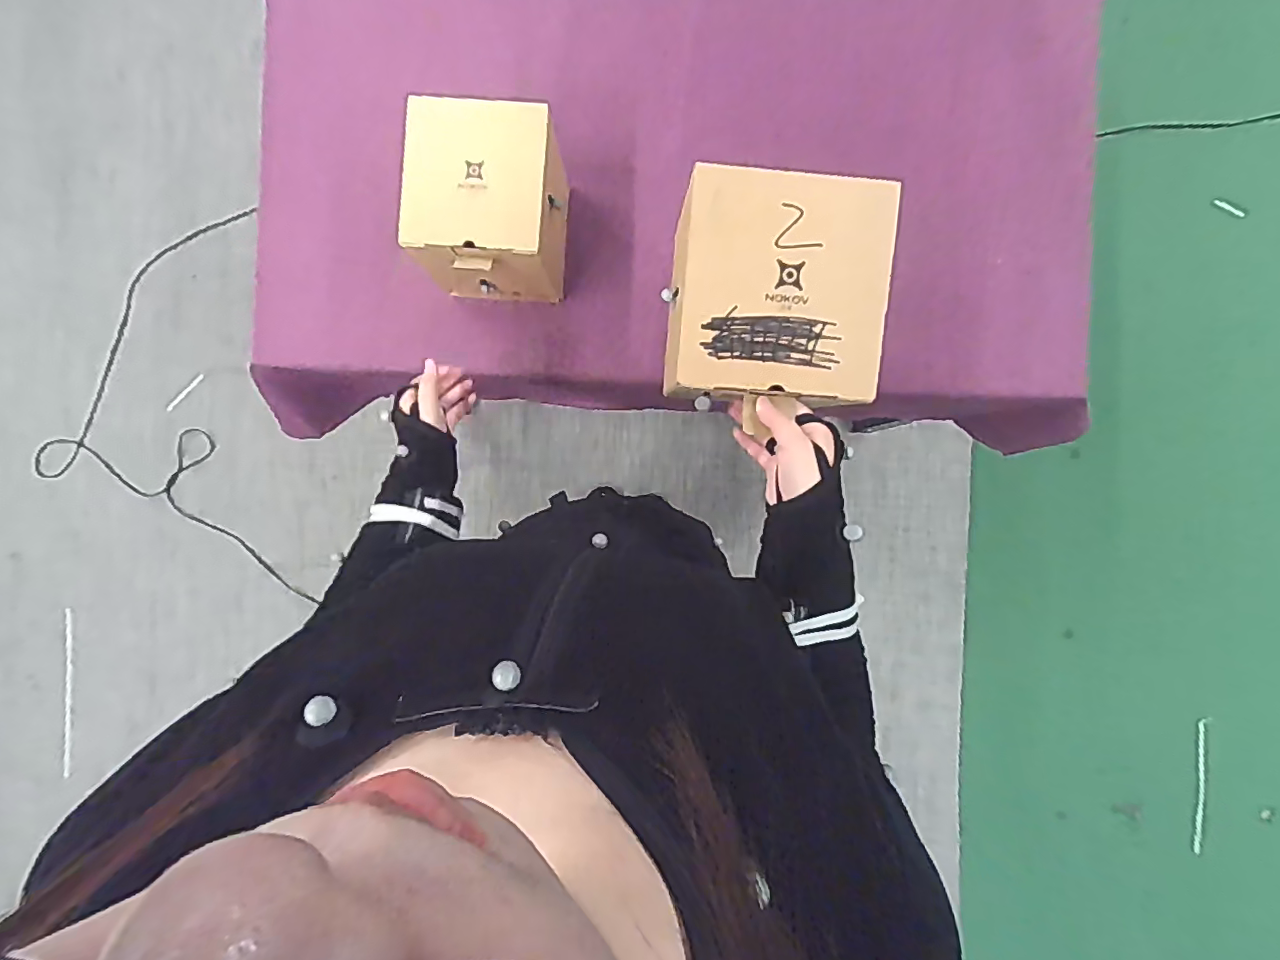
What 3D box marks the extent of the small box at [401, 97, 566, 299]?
[{"bbox_3d":[-0.194,-0.360,0.717,0.168,0.176,0.179,4,90,0],"label":"small box"}]
